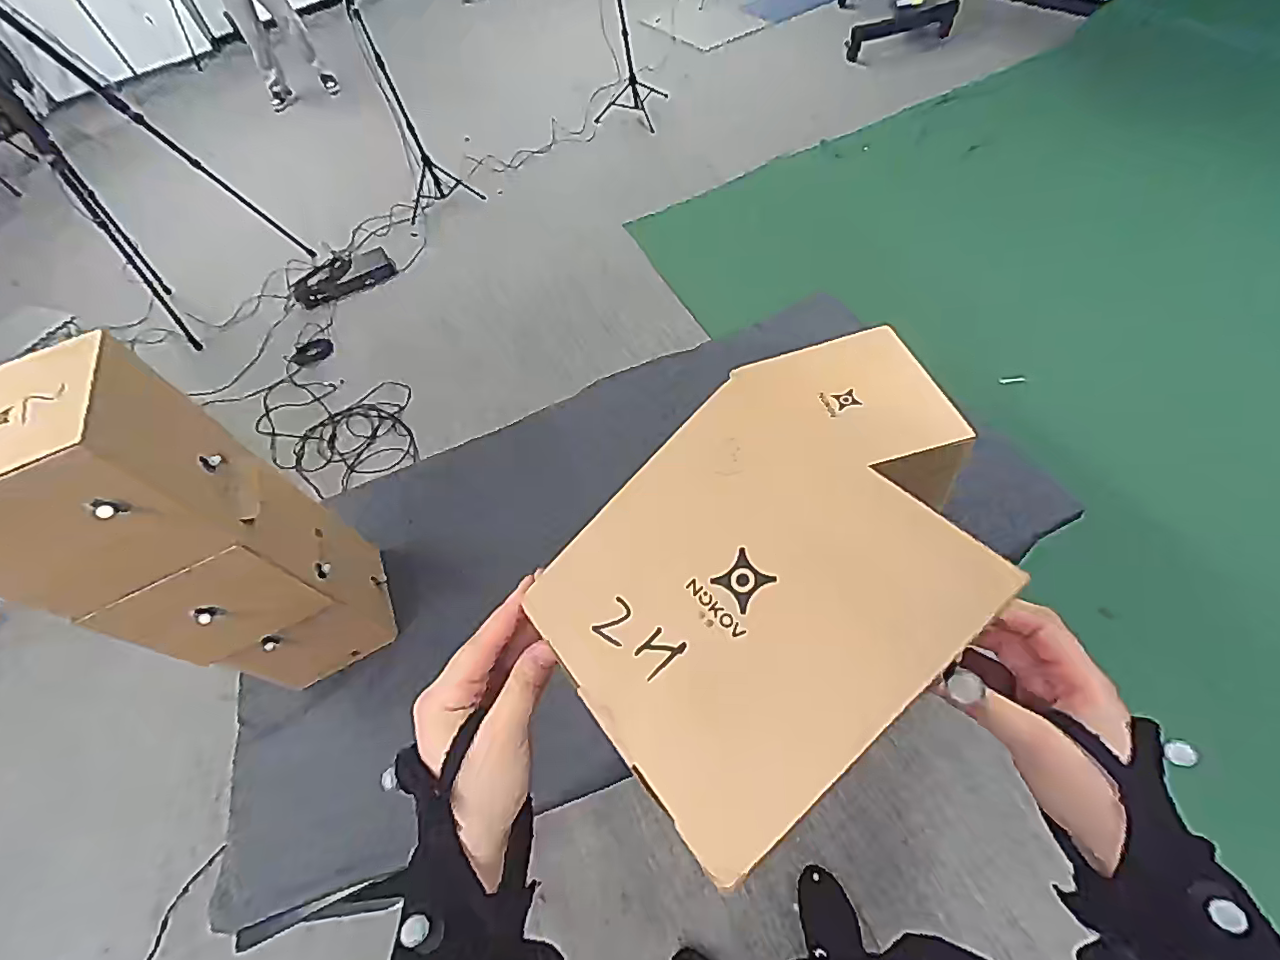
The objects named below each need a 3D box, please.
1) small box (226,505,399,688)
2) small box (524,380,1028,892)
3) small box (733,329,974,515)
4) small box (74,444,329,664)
[{"bbox_3d":[-0.487,0.175,0.800,0.168,0.176,0.179,-27,55,-8],"label":"small box"},{"bbox_3d":[0.073,0.082,0.320,0.179,0.176,0.168,-45,58,2],"label":"small box"},{"bbox_3d":[0.210,-0.027,0.585,0.179,0.176,0.168,-16,53,3],"label":"small box"},{"bbox_3d":[-0.507,0.094,0.657,0.179,0.176,0.168,-27,56,-7],"label":"small box"}]
